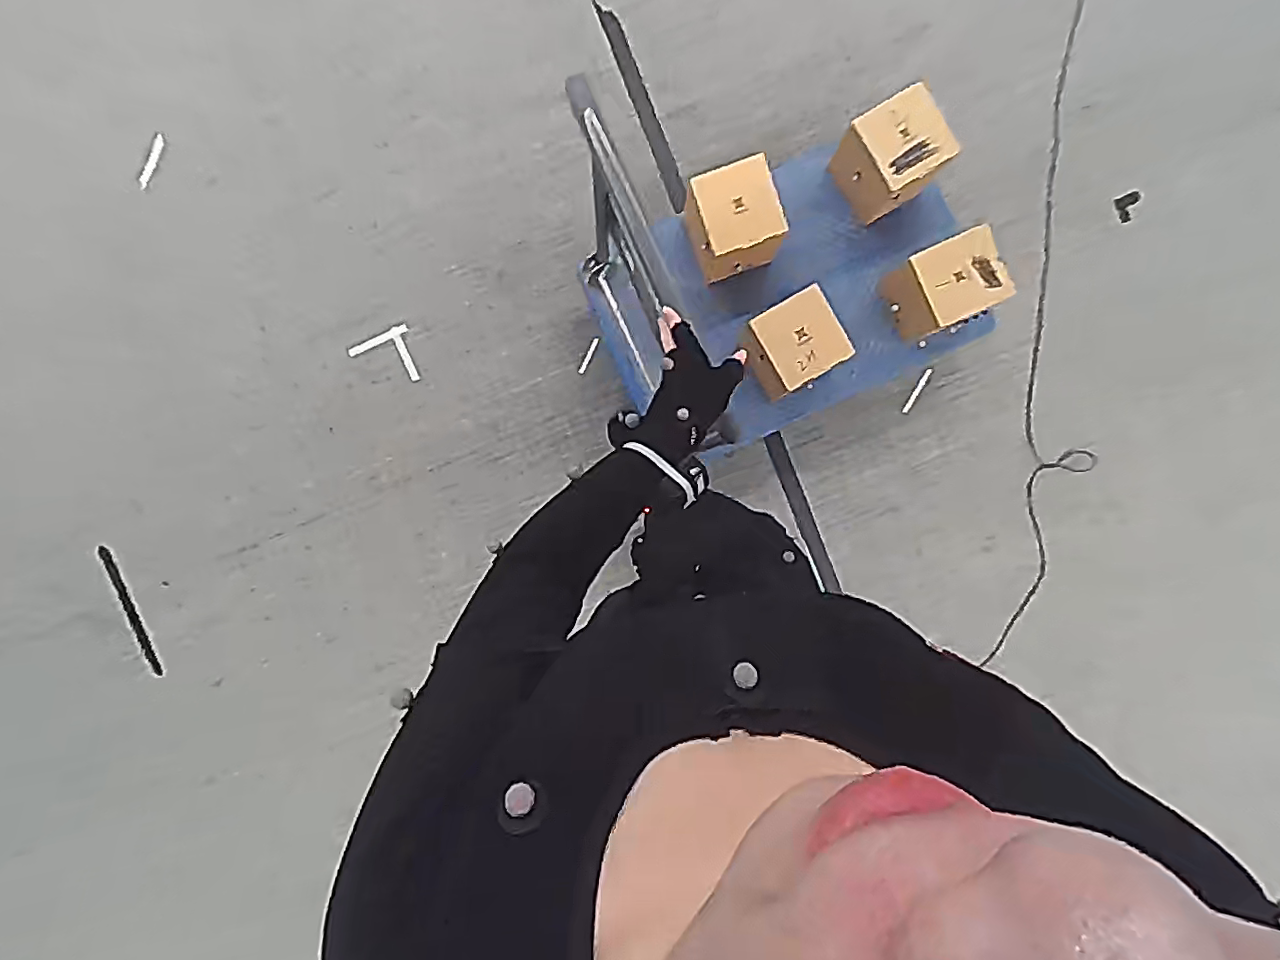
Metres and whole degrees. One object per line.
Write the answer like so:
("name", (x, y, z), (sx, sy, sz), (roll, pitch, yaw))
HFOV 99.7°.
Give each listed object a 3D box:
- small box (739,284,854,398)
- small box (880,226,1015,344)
("small box", (0.342, -0.303, 1.218), (0.168, 0.176, 0.179), (-29, 91, 1))
("small box", (0.678, -0.427, 1.211), (0.179, 0.176, 0.168), (-23, 91, 2))
